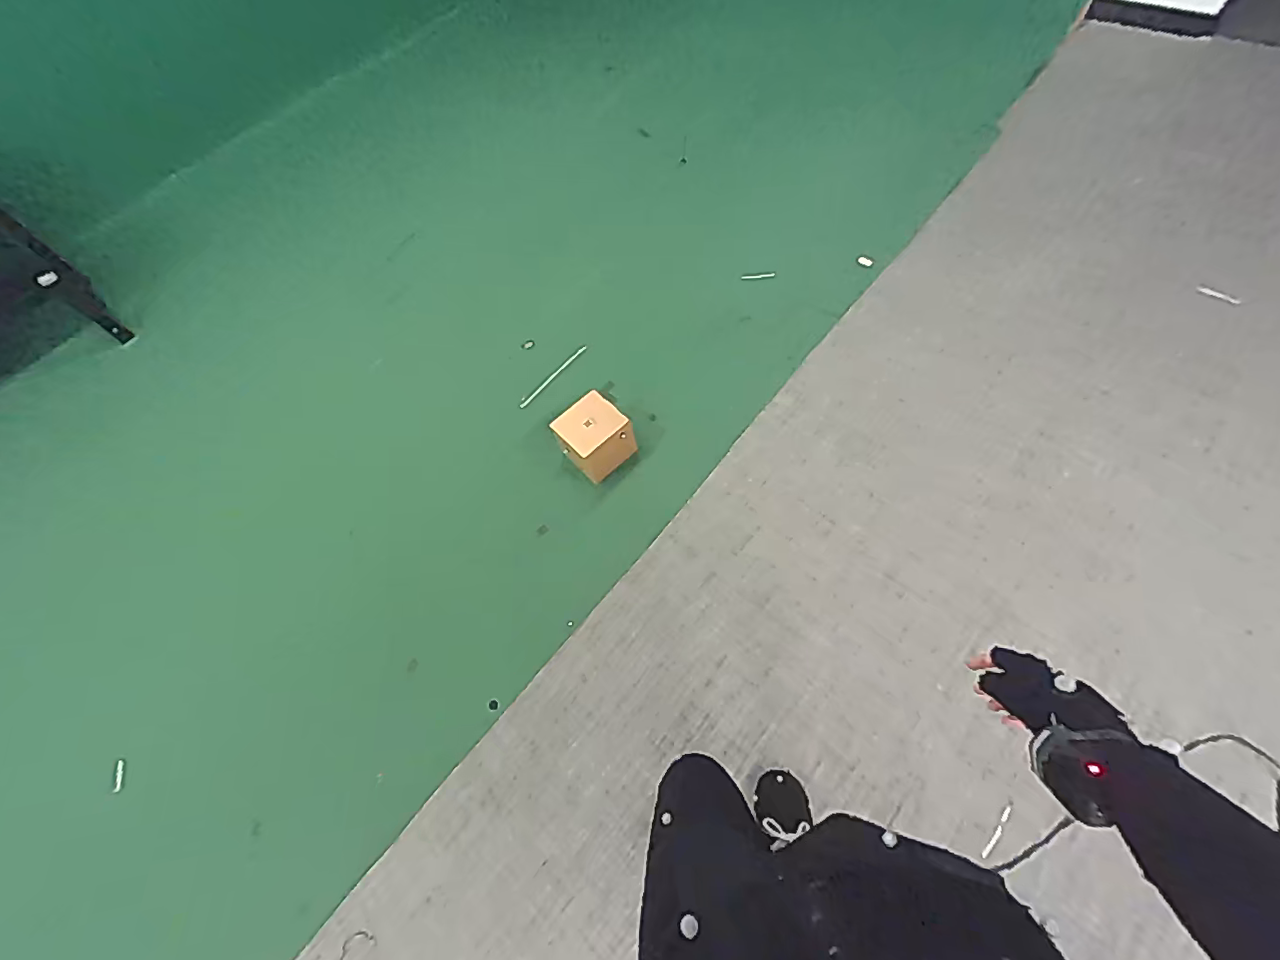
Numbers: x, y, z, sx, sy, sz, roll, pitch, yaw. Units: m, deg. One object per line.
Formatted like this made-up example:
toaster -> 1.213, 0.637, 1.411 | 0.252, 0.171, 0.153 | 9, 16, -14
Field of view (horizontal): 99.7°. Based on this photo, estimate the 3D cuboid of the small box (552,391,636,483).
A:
small box -> -0.131, -0.123, 1.619 | 0.179, 0.176, 0.168 | -41, 64, -14
